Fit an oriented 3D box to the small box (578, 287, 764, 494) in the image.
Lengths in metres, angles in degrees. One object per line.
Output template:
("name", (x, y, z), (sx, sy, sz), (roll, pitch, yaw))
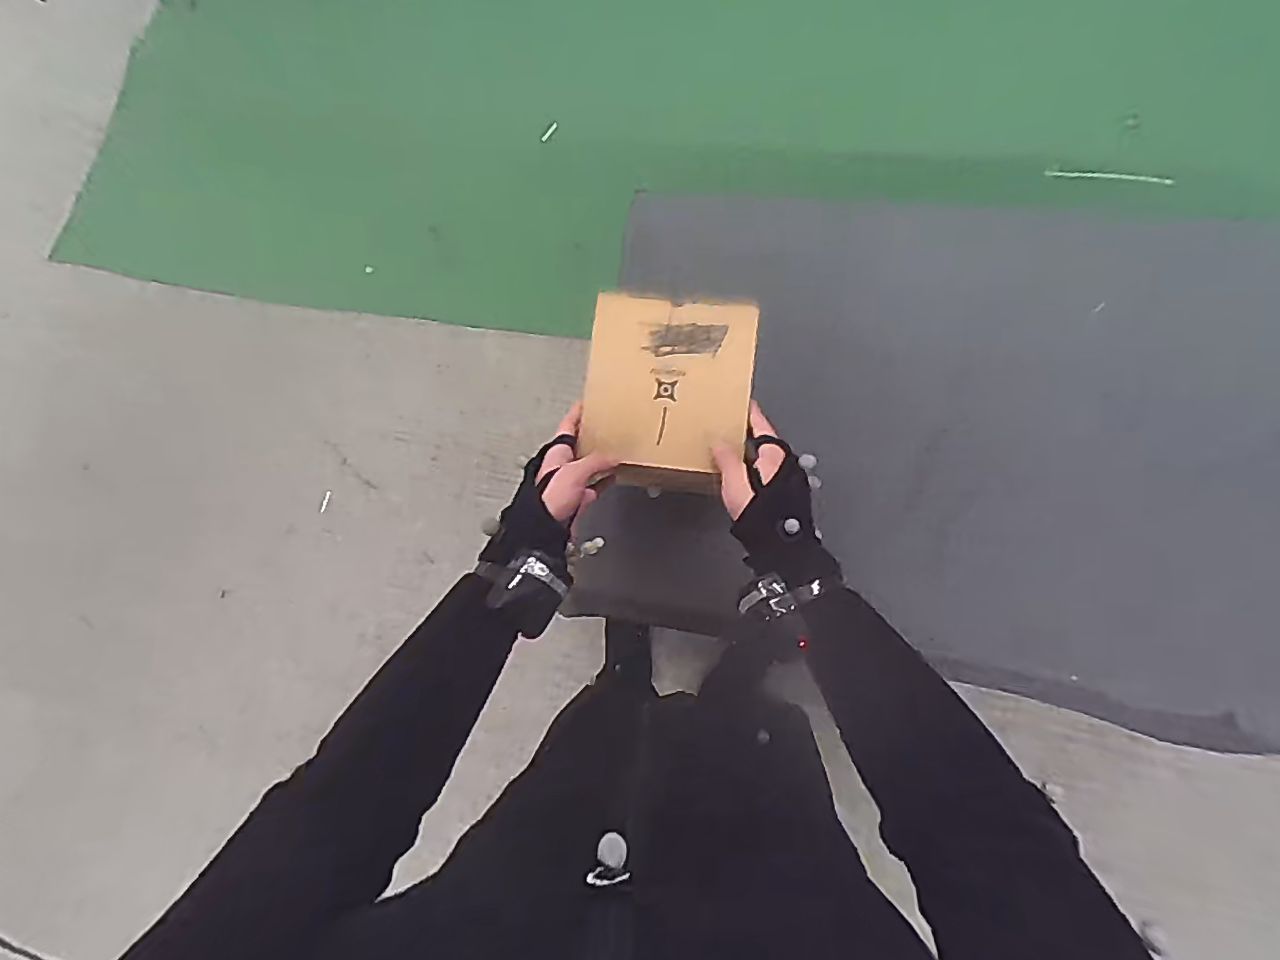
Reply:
("small box", (0.036, -0.088, 0.605), (0.168, 0.176, 0.179), (7, 82, 5))
